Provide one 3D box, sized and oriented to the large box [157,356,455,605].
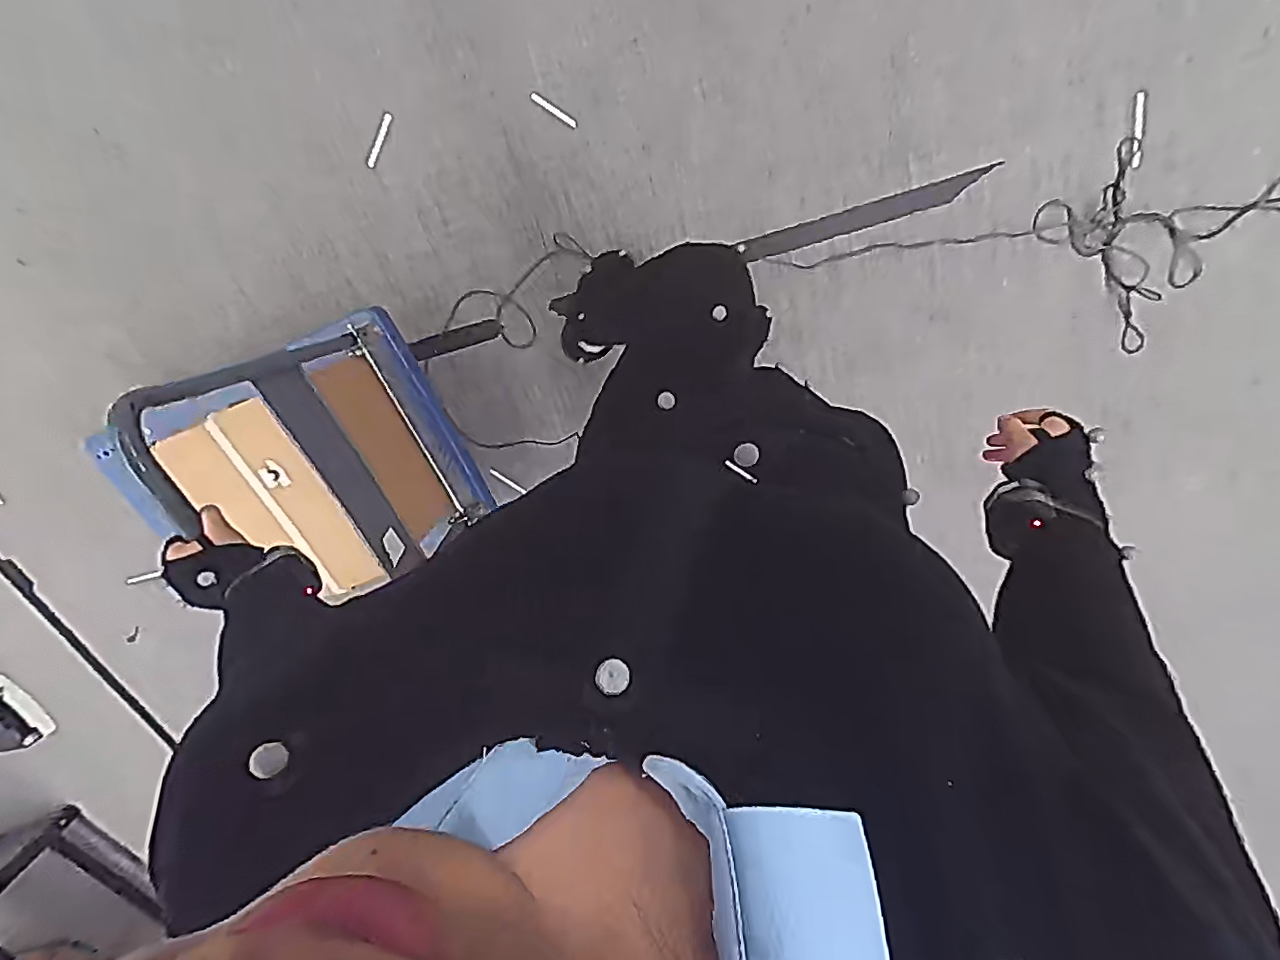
[{"bbox_3d":[-0.684,-0.008,1.187,0.320,0.320,0.408,-20,111,10],"label":"large box"}]
